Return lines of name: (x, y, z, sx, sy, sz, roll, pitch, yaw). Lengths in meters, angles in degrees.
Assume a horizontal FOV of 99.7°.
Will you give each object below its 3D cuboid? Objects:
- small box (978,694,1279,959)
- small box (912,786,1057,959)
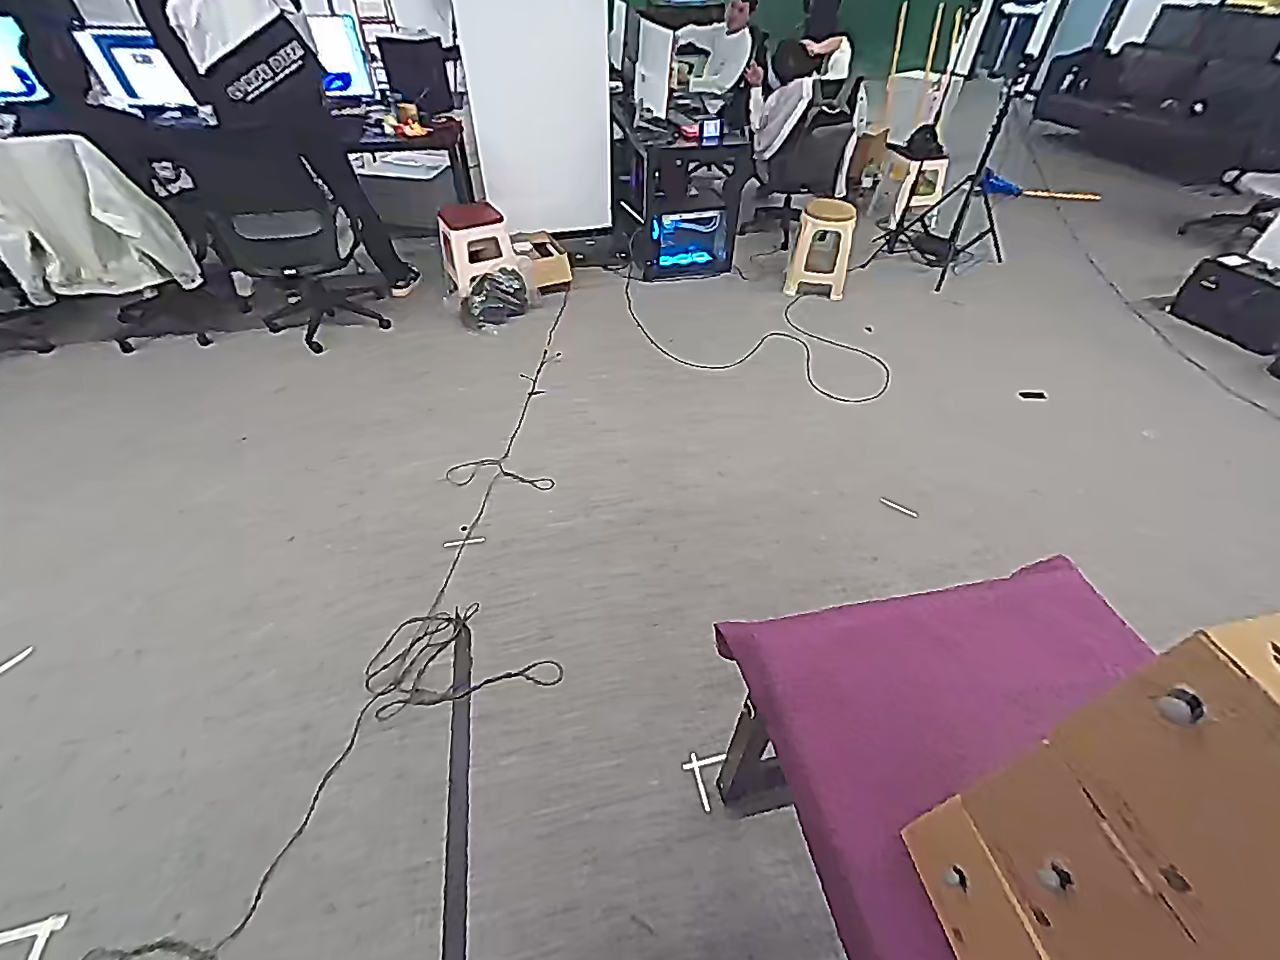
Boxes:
small box: (0.435, 0.316, 0.470, 0.179, 0.176, 0.168, -9, 46, -10)
small box: (0.426, 0.434, 0.584, 0.179, 0.176, 0.168, -7, 46, -9)
